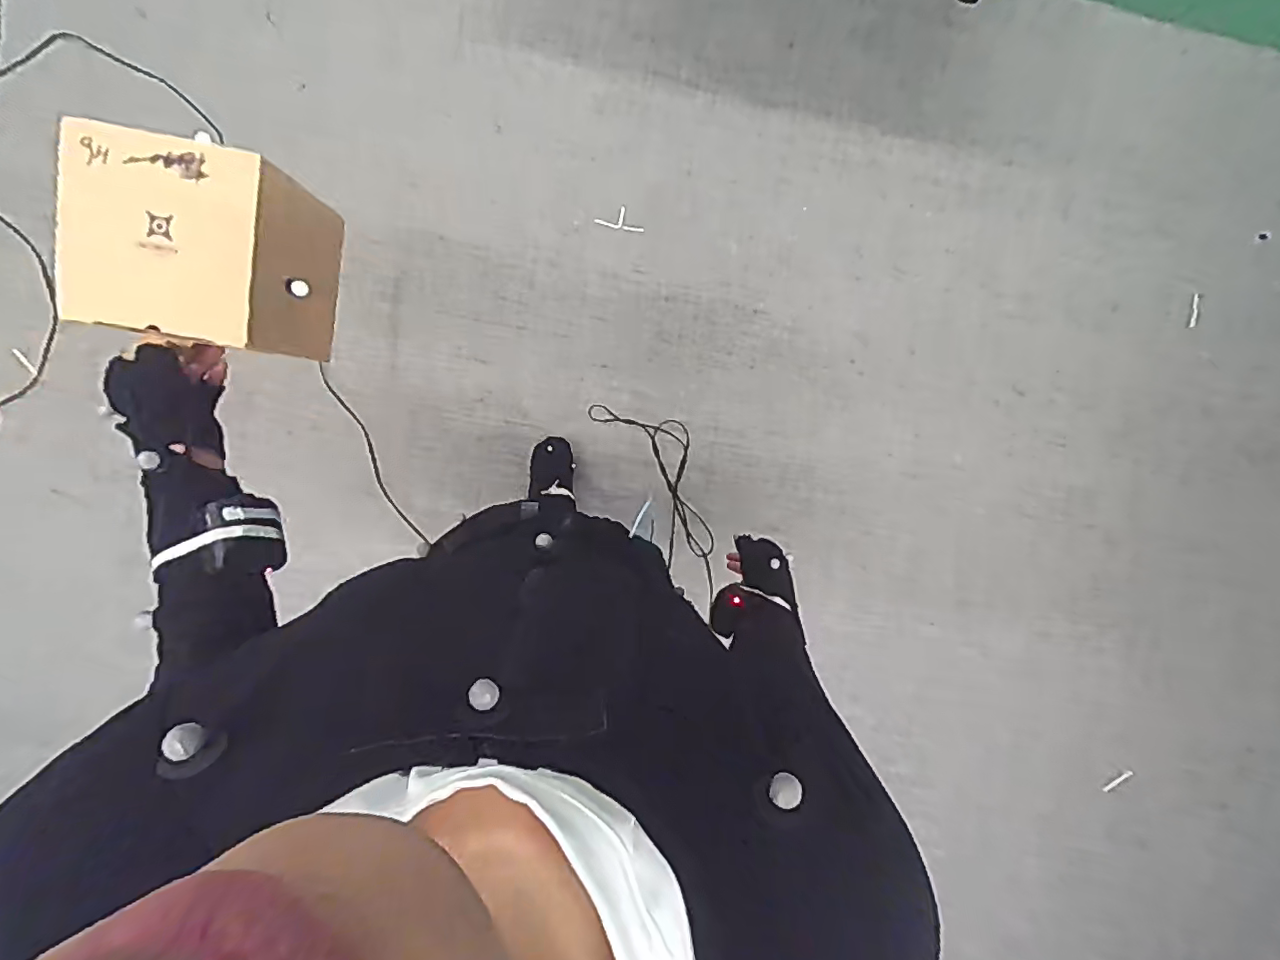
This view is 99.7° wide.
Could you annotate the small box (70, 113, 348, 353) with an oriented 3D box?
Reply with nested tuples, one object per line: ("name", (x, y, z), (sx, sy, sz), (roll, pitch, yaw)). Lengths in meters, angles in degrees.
("small box", (-0.433, -0.237, 0.571), (0.168, 0.176, 0.179), (10, 99, -6))
